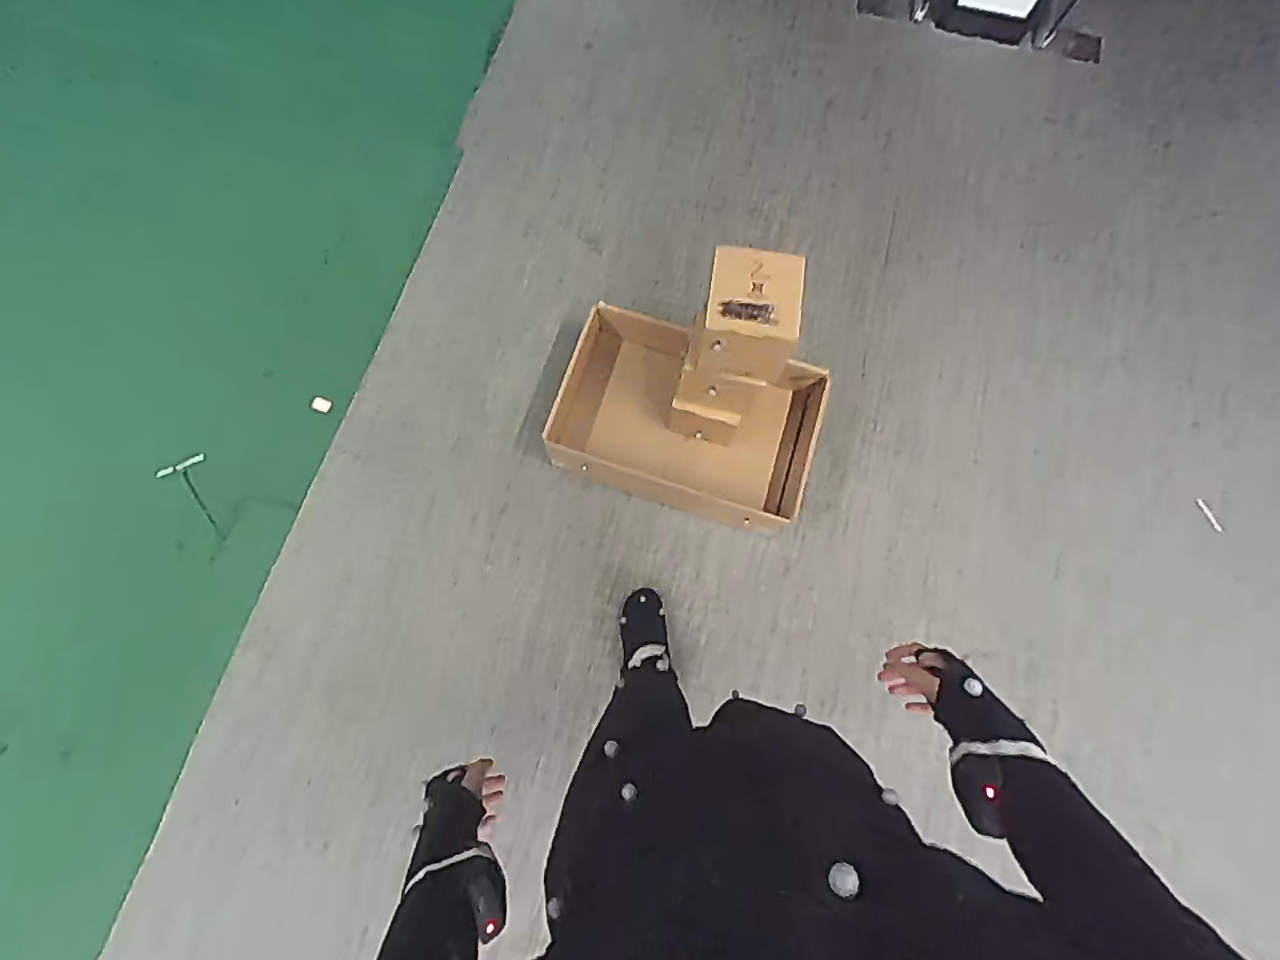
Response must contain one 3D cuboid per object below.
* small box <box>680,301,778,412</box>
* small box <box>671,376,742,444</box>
[{"bbox_3d":[0.187,-0.264,1.189,0.179,0.176,0.168,12,77,5],"label":"small box"},{"bbox_3d":[0.177,-0.210,1.345,0.168,0.176,0.179,16,77,6],"label":"small box"}]
